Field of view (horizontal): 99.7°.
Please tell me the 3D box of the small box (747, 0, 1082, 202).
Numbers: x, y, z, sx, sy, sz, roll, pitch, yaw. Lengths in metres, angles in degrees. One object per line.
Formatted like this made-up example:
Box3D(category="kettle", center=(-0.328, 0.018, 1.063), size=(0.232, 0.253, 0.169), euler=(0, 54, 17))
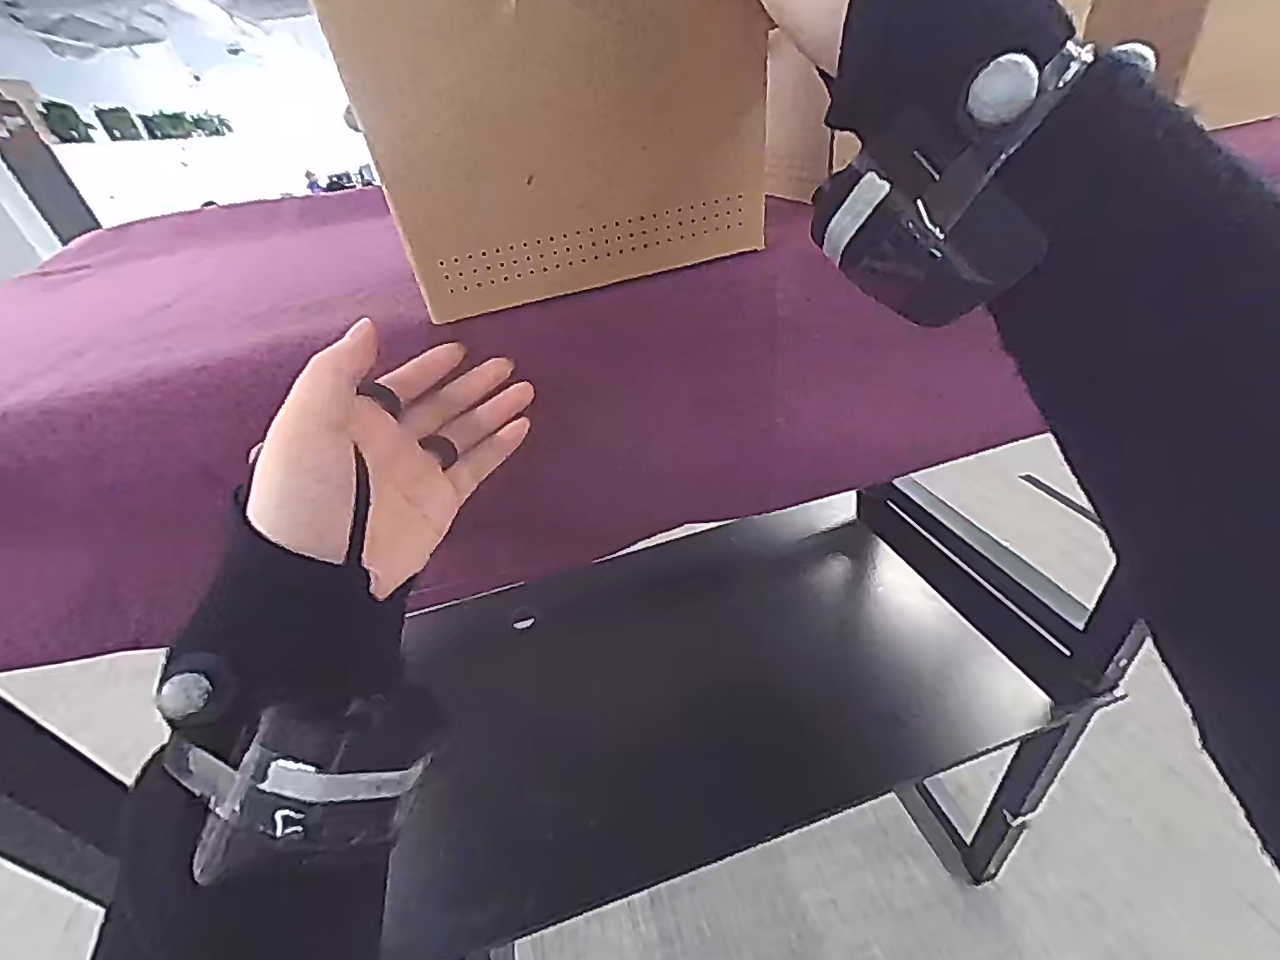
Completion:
Box3D(category="small box", center=(0.161, -0.297, 0.366), size=(0.168, 0.176, 0.179), euler=(-15, 34, -8))
